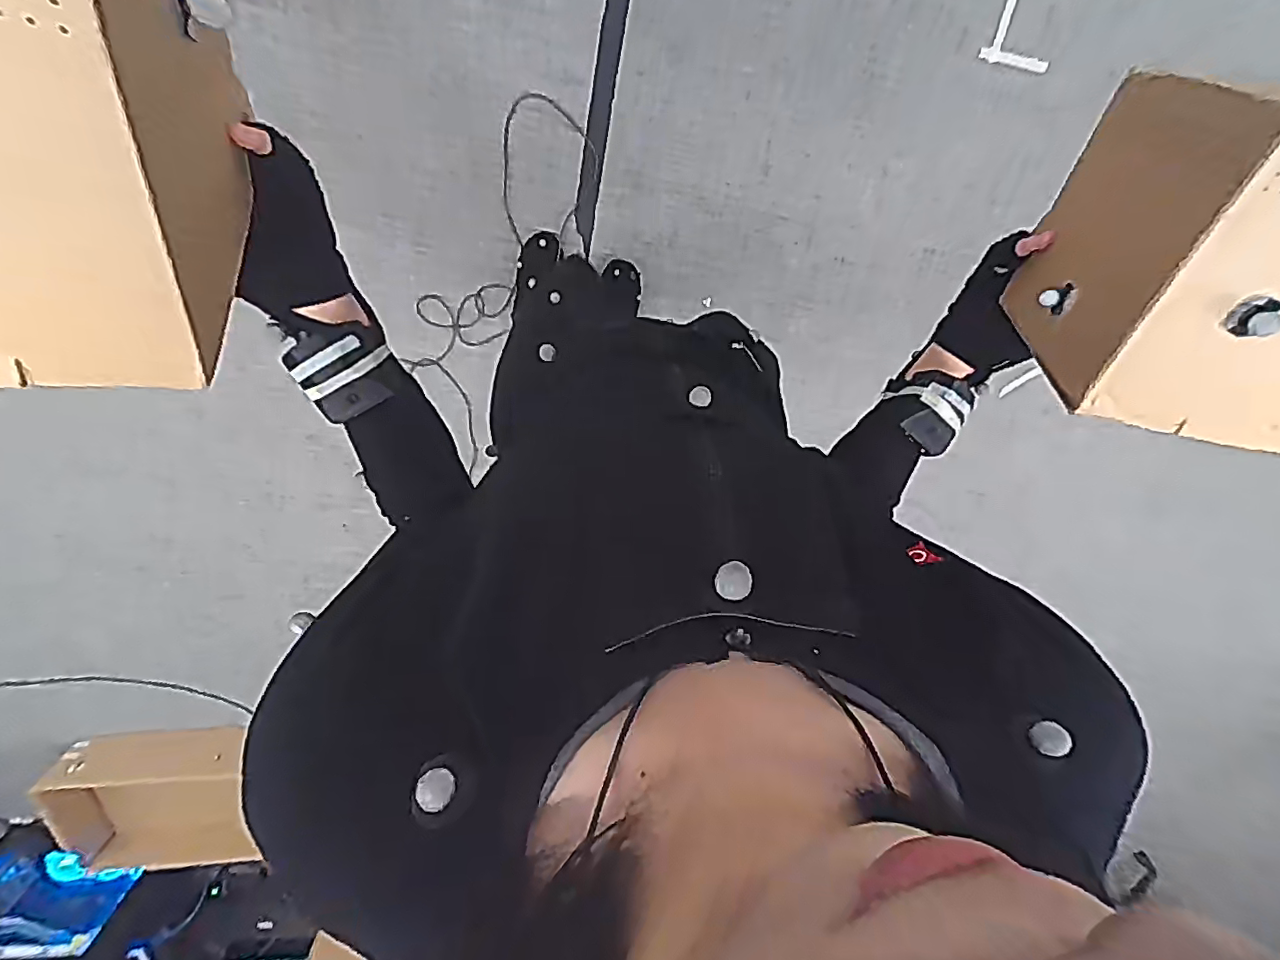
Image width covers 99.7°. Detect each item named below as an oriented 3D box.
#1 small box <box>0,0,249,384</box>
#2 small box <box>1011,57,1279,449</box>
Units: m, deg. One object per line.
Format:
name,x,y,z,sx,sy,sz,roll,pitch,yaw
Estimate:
small box,-0.258,-0.158,0.190,0.168,0.179,0.176,0,142,-27
small box,0.374,-0.138,0.325,0.168,0.179,0.176,13,134,6
